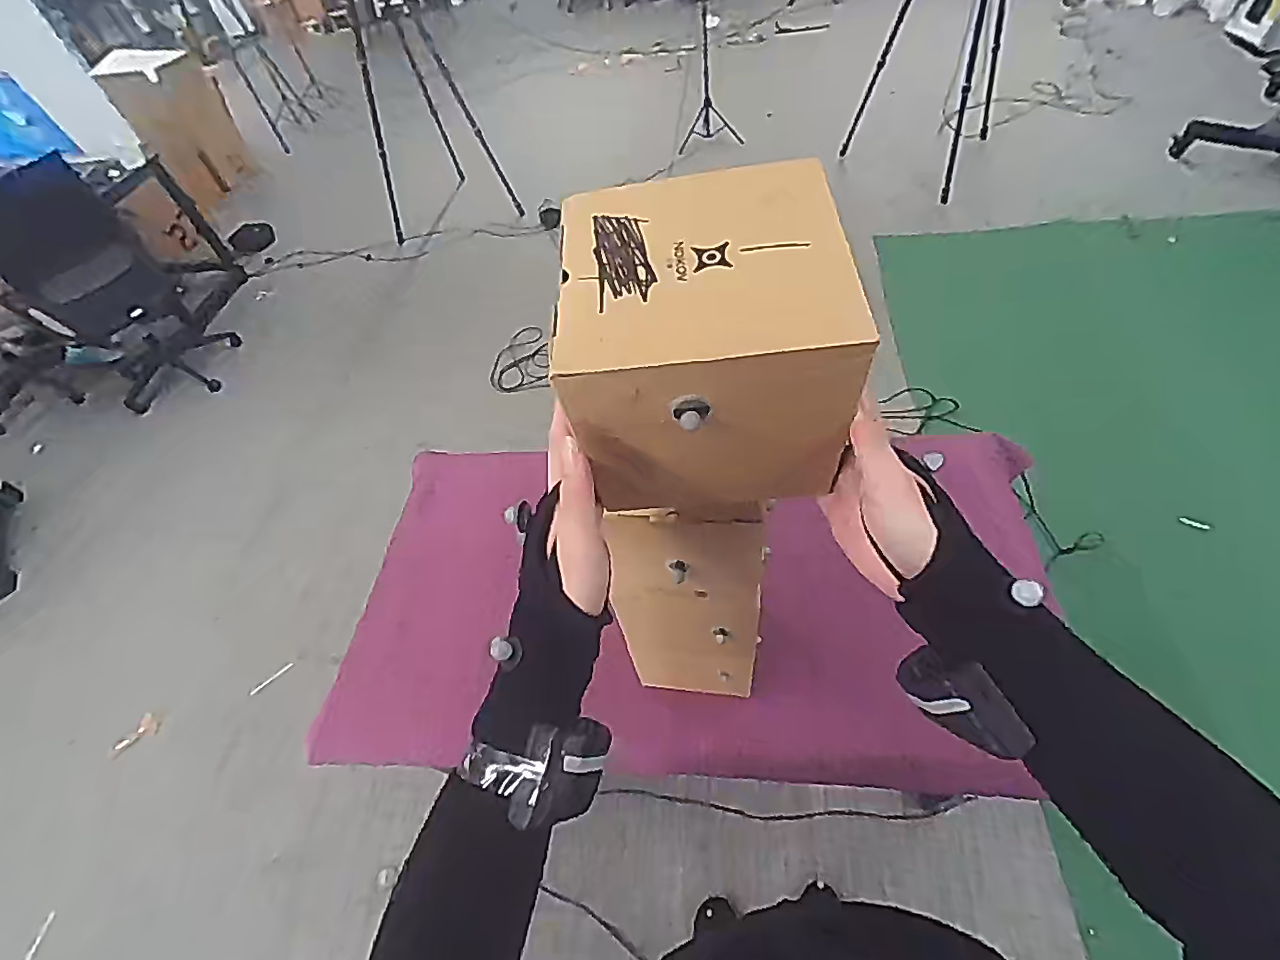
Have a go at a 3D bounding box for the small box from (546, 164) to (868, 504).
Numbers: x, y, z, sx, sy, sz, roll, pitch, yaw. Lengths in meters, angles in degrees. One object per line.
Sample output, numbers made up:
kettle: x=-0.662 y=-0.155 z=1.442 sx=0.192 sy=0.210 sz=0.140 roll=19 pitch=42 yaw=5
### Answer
small box: x=0.045 y=-0.092 z=0.396 sx=0.179 sy=0.176 sz=0.168 roll=-5 pitch=60 yaw=7

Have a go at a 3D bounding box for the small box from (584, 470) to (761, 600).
small box: x=0.049 y=0.018 z=0.601 sx=0.168 sy=0.176 sz=0.179 roll=2 pitch=53 yaw=11

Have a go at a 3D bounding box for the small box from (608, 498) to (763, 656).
small box: x=0.069 y=0.124 z=0.724 sx=0.179 sy=0.176 sz=0.168 roll=2 pitch=52 yaw=11
